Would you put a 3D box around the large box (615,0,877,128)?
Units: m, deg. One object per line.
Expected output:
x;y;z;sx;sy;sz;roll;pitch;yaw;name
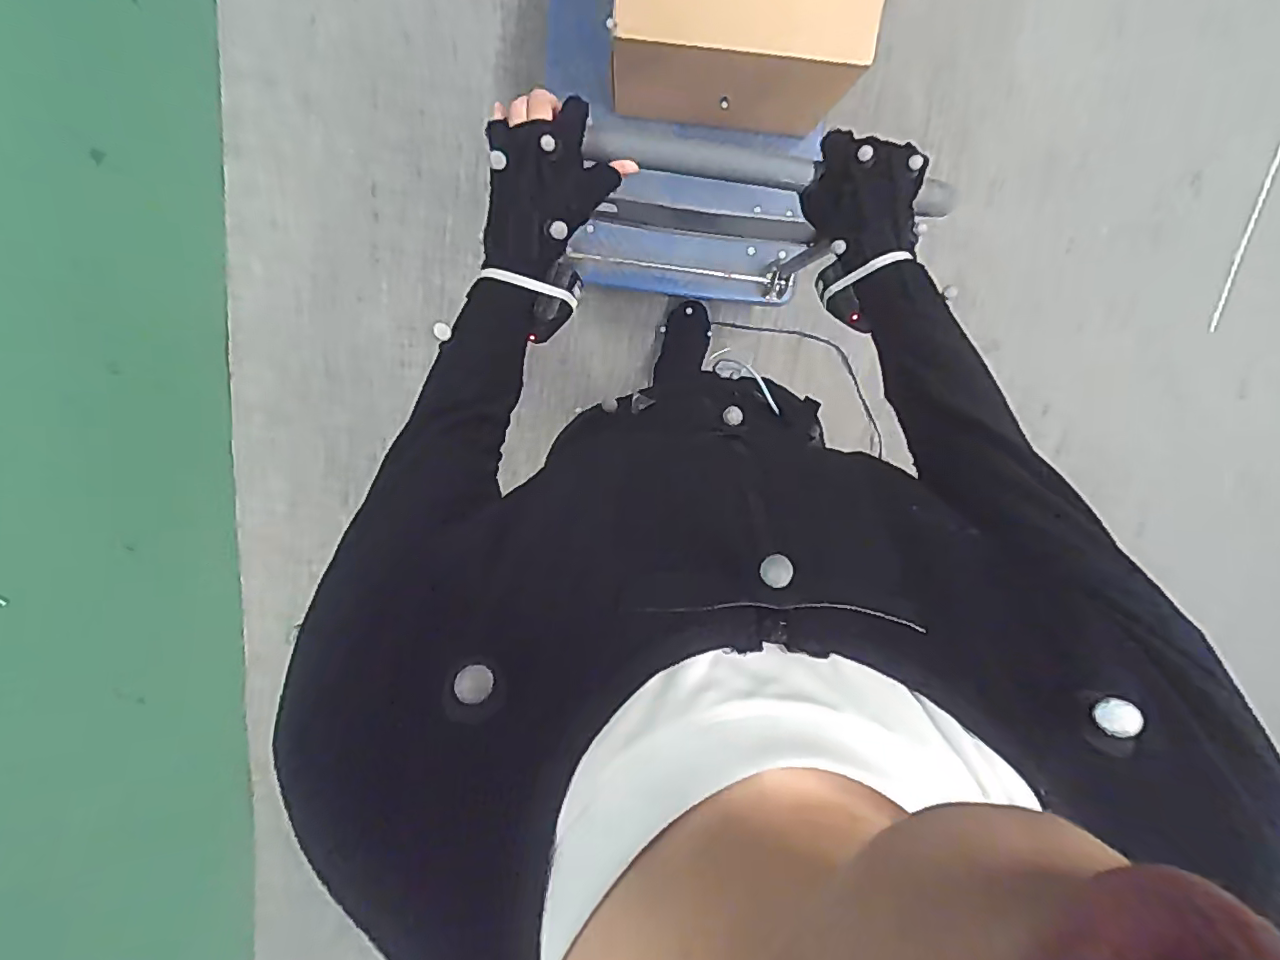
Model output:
0.170;-0.849;0.944;0.408;0.320;0.320;4;105;-2;large box
